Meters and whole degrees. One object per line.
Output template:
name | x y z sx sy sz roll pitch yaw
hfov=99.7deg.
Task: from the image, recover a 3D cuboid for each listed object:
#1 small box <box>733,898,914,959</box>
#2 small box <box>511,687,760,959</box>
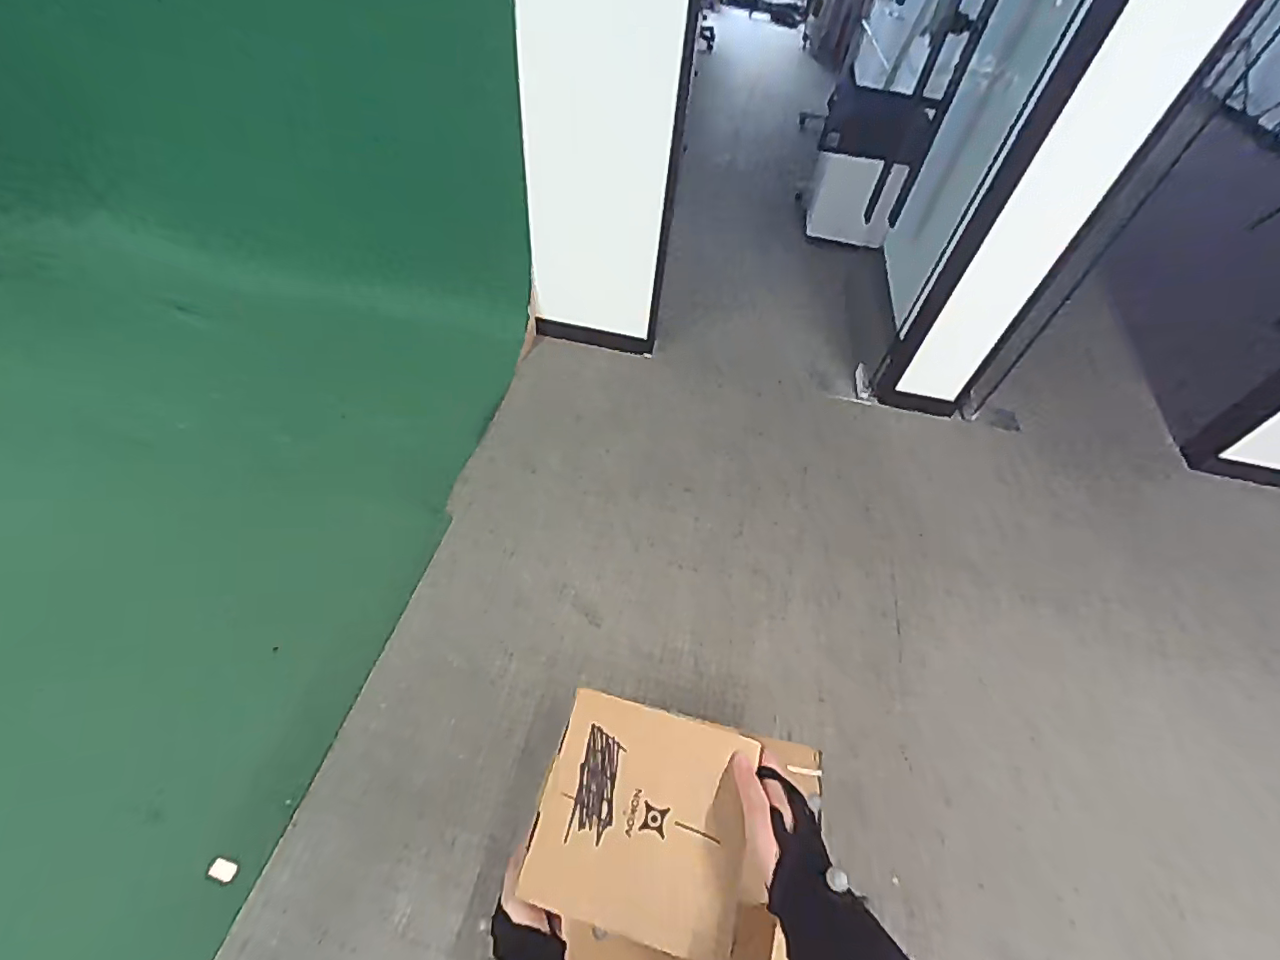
small box | 0.193 0.609 0.606 0.168 0.176 0.179 19 51 9
small box | -0.001 0.320 0.523 0.179 0.176 0.168 15 61 5
